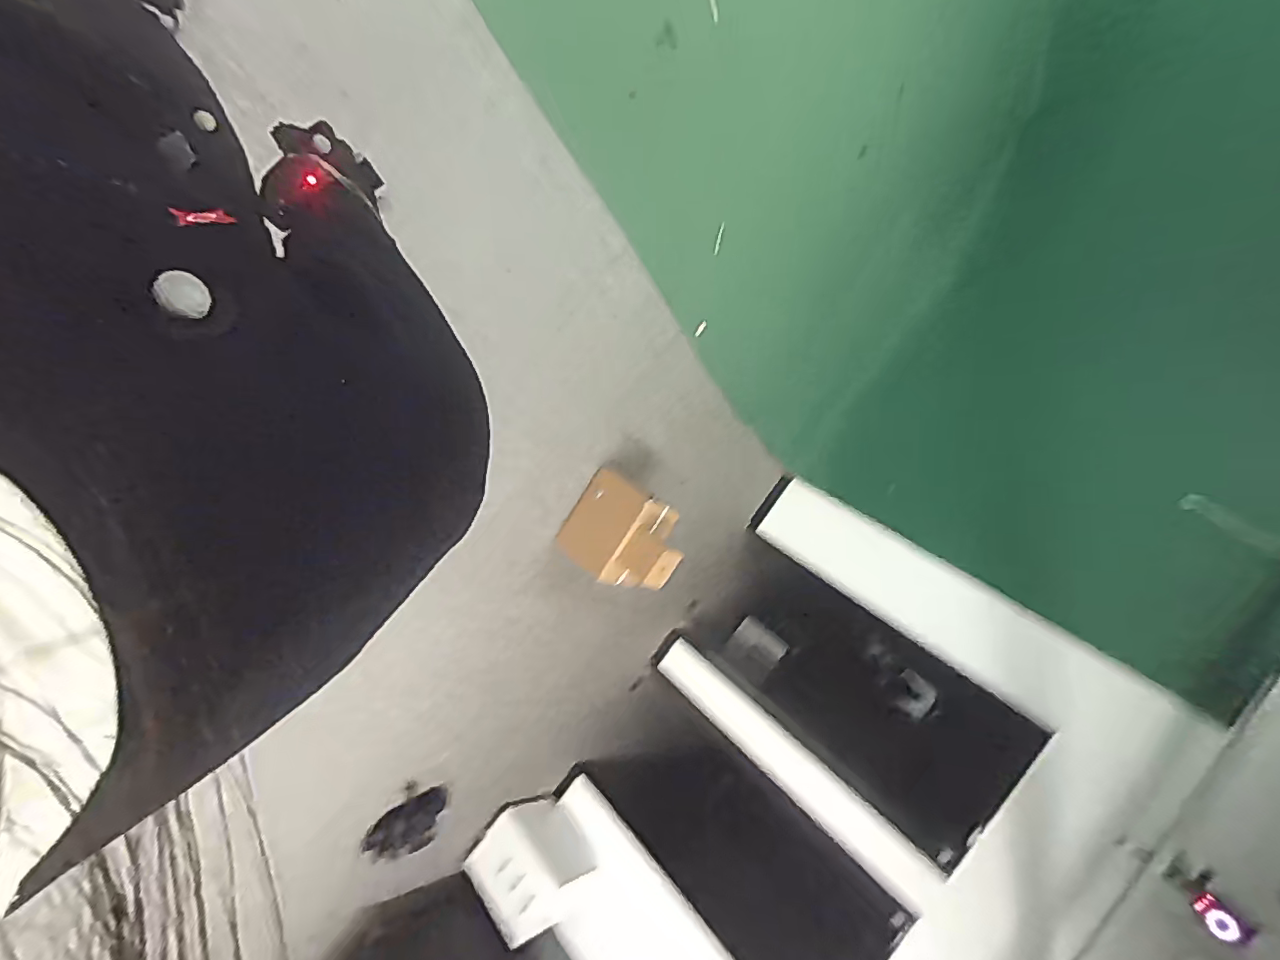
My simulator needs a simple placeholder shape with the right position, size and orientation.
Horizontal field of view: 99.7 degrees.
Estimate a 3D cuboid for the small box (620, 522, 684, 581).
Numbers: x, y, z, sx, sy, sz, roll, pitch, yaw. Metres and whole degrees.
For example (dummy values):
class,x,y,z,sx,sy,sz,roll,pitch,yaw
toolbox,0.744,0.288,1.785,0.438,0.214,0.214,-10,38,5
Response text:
class,x,y,z,sx,sy,sz,roll,pitch,yaw
small box,0.046,0.300,2.278,0.179,0.176,0.168,-56,146,5
